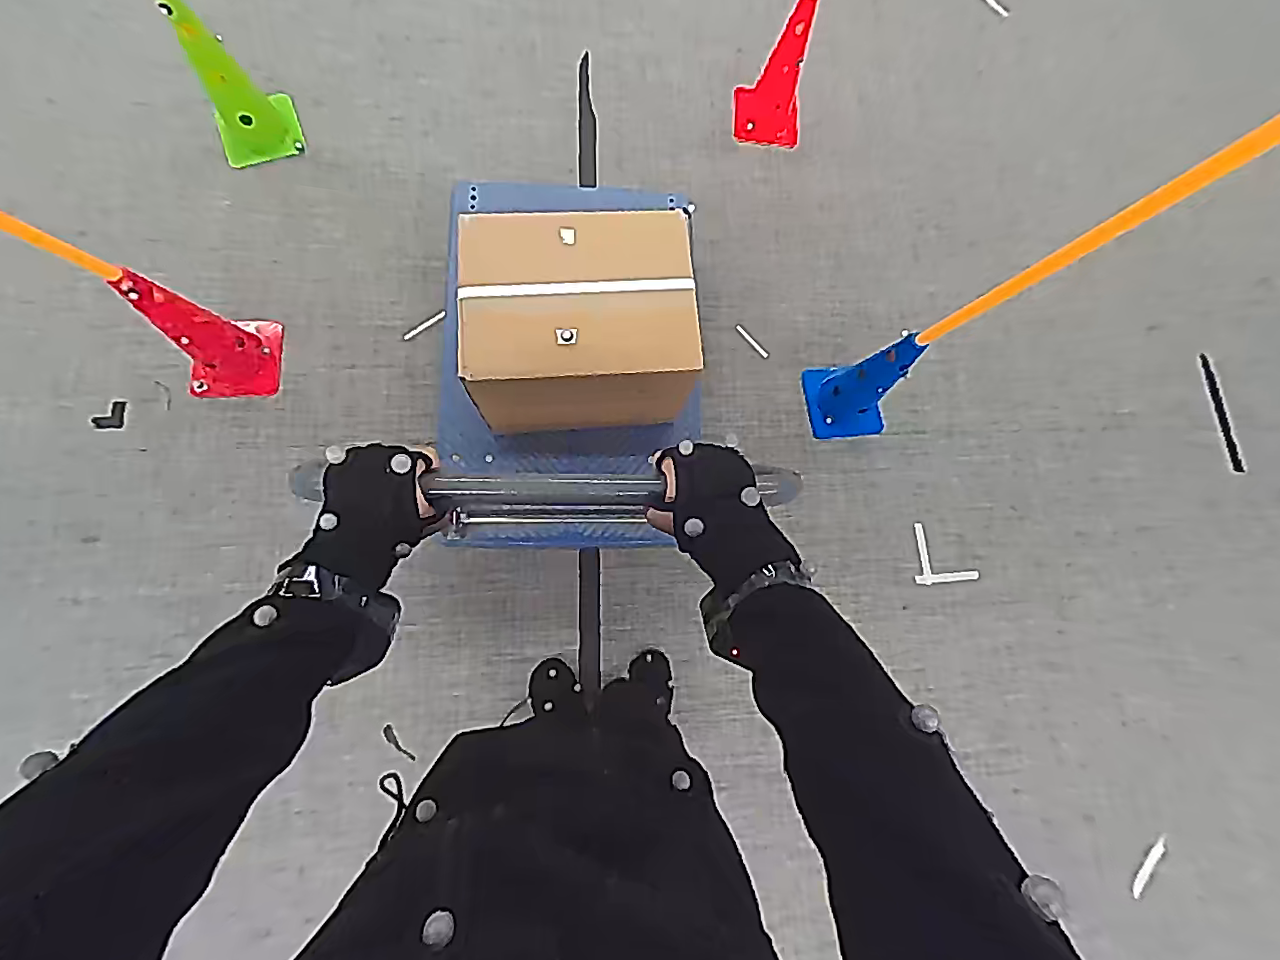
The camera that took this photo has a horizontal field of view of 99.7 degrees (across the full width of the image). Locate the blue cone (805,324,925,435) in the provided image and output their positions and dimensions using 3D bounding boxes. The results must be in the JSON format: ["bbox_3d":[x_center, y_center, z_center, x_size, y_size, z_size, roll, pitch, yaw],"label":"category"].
[{"bbox_3d":[0.565,-0.255,1.303,0.193,0.380,0.192,-5,77,-7],"label":"blue cone"}]

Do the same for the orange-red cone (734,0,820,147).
[{"bbox_3d":[0.404,-1.137,1.469,0.199,0.360,0.198,6,78,-5],"label":"orange-red cone"}]
